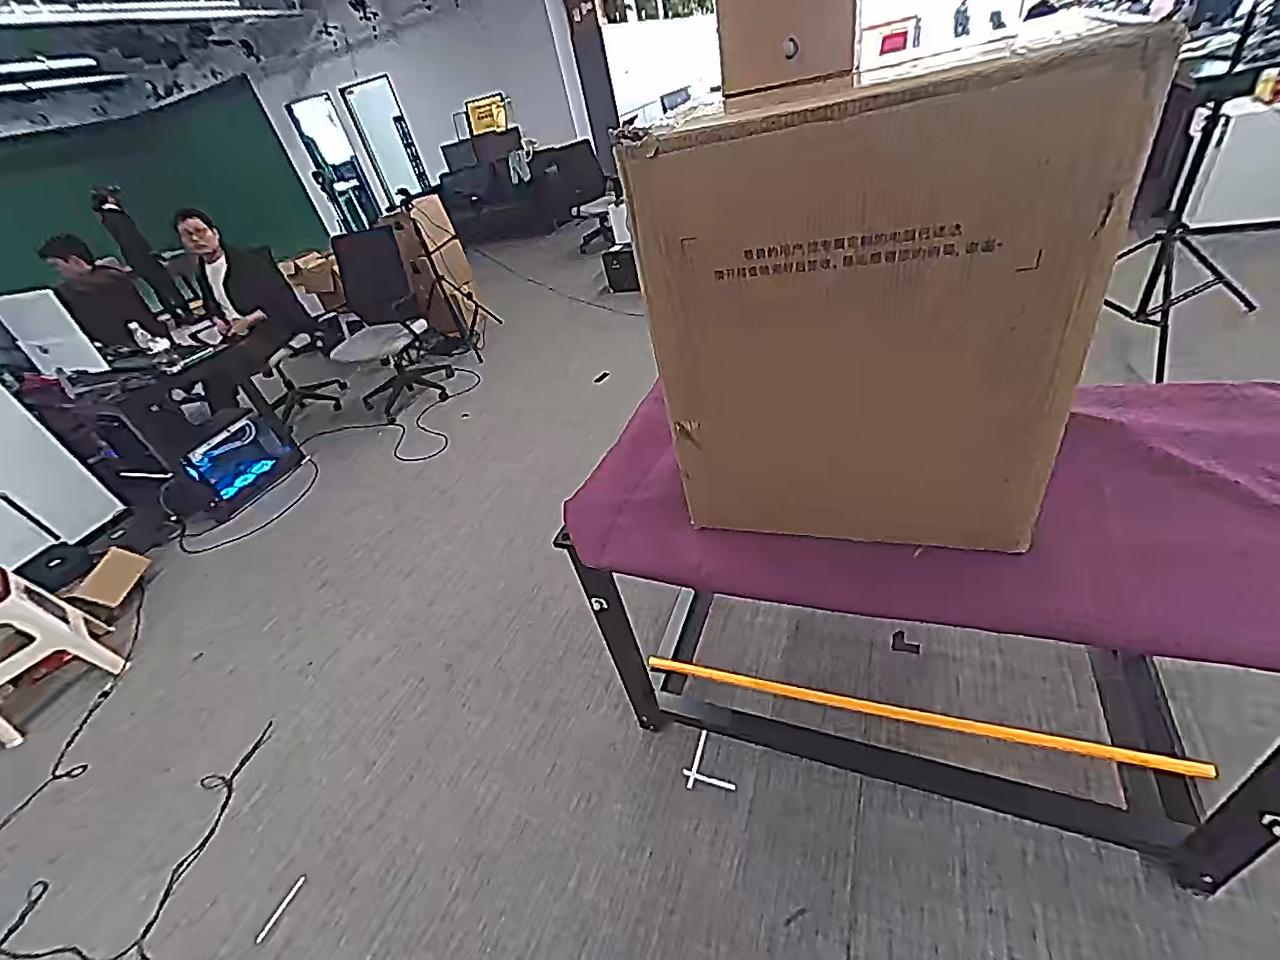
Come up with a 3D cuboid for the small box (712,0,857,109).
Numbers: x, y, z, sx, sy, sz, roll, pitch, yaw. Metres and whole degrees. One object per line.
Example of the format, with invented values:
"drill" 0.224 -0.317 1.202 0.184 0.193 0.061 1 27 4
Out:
"small box" 0.200 -0.631 0.738 0.179 0.176 0.168 4 41 23
